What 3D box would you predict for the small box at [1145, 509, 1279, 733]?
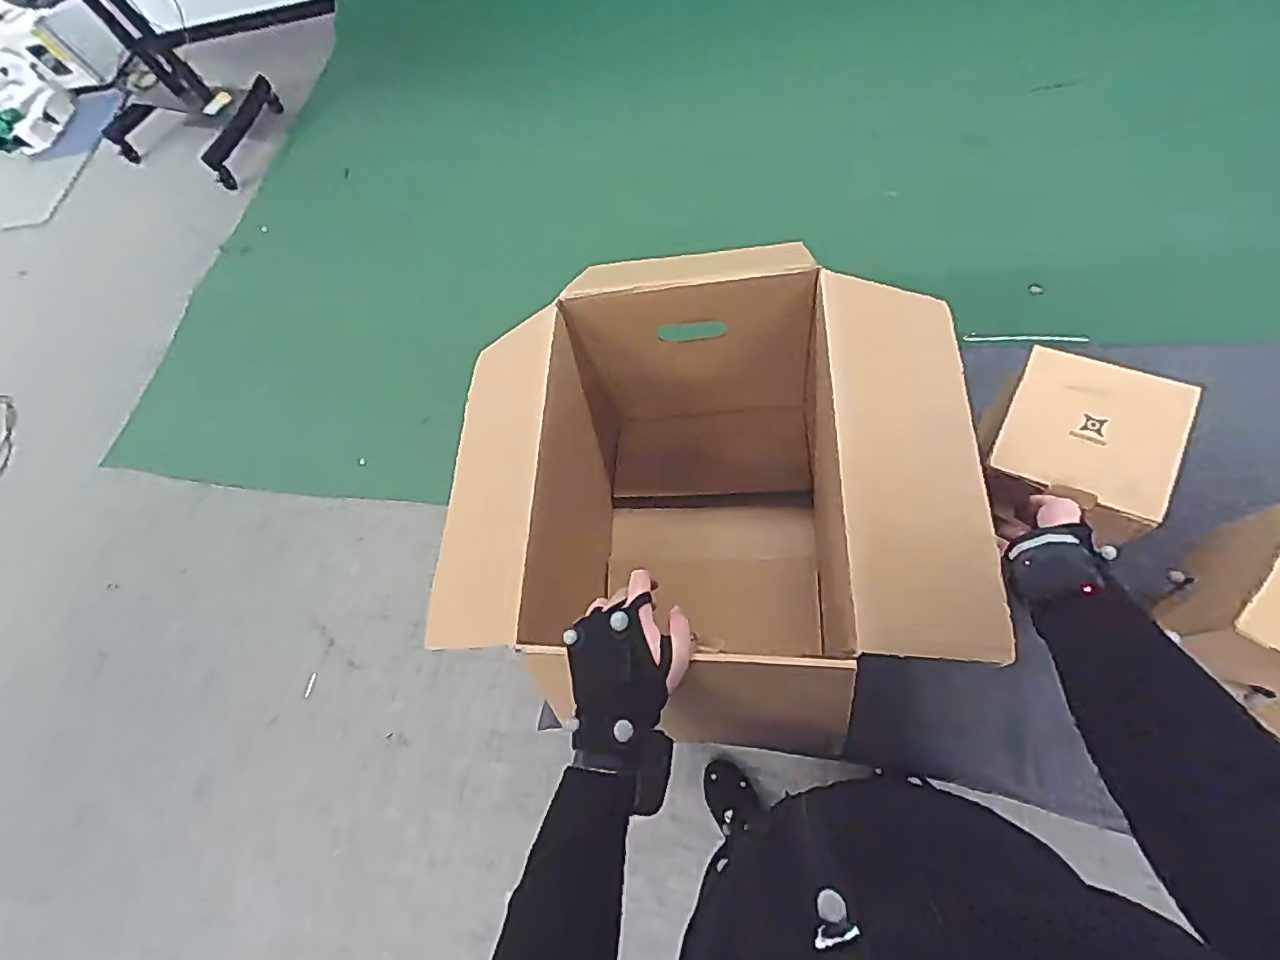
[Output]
[{"bbox_3d":[0.687,0.151,0.557,0.168,0.176,0.179,38,82,24],"label":"small box"}]
